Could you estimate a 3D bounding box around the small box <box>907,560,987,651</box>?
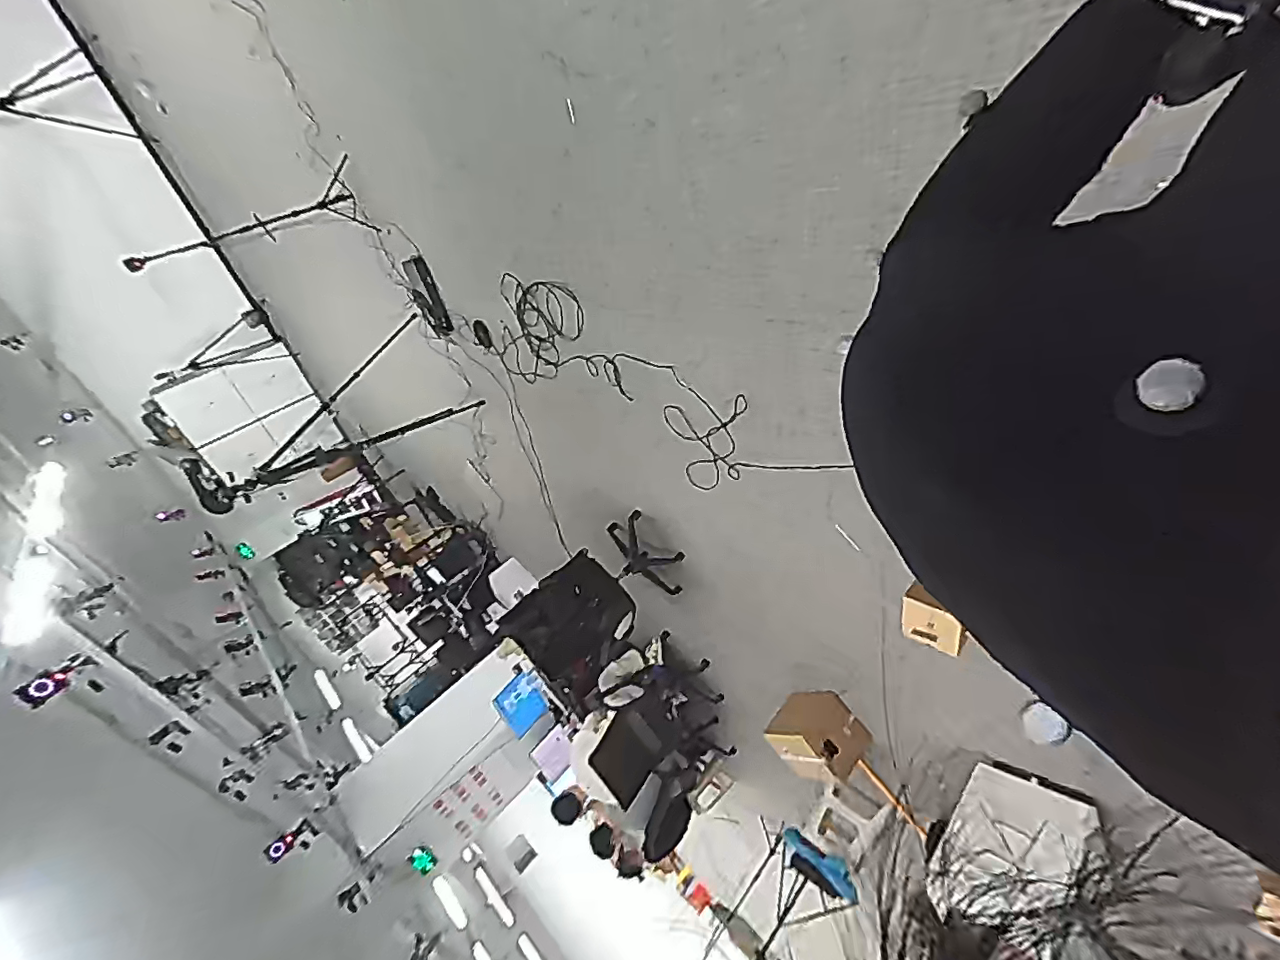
[{"bbox_3d":[0.945,0.382,1.667,0.168,0.176,0.179,20,137,43],"label":"small box"}]
